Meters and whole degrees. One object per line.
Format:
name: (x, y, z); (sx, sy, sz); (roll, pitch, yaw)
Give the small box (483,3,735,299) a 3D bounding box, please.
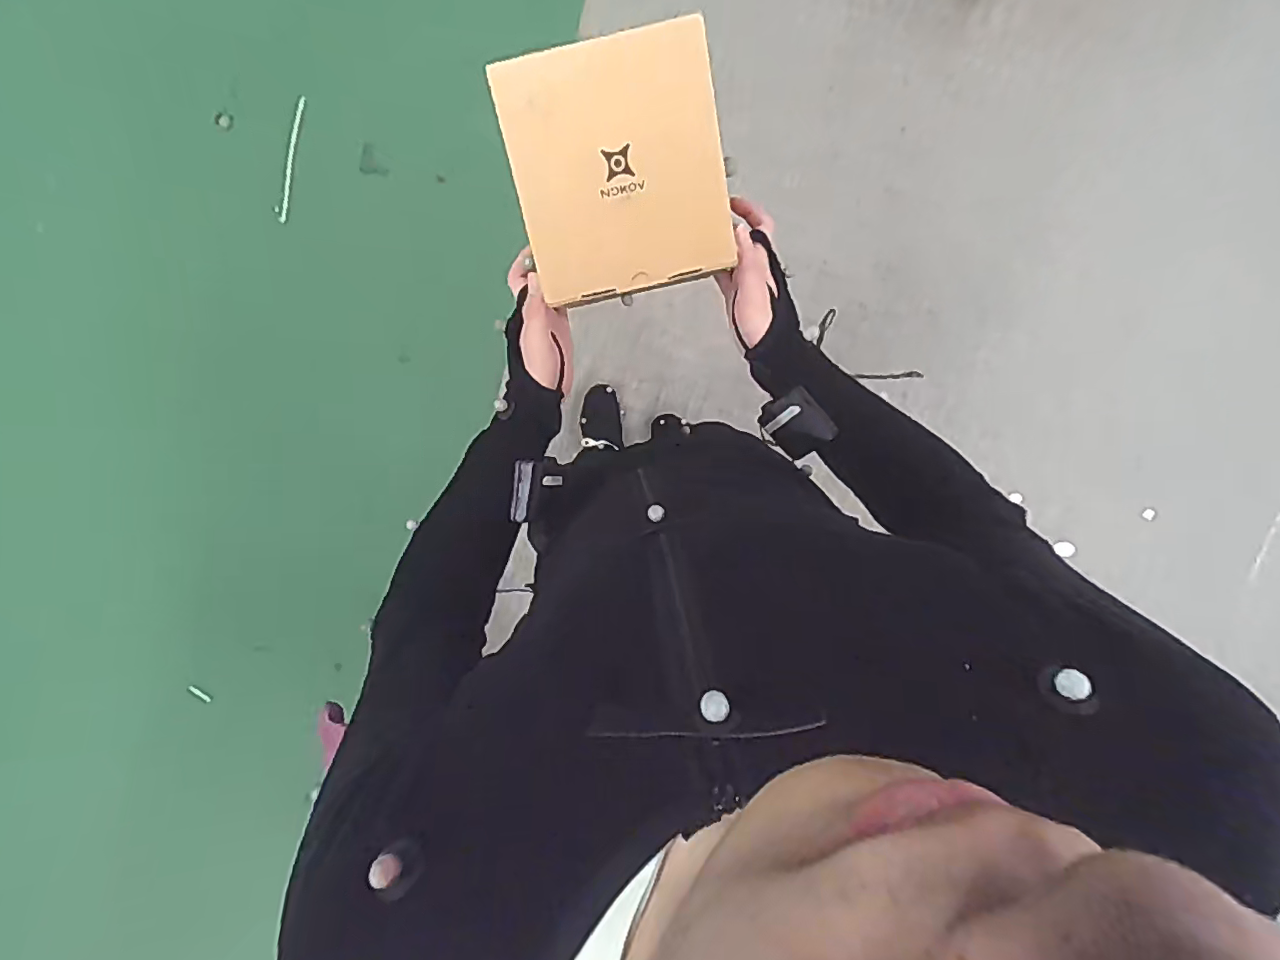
small box: (-0.023, -0.267, 0.486); (0.168, 0.176, 0.179); (-12, 109, 1)
